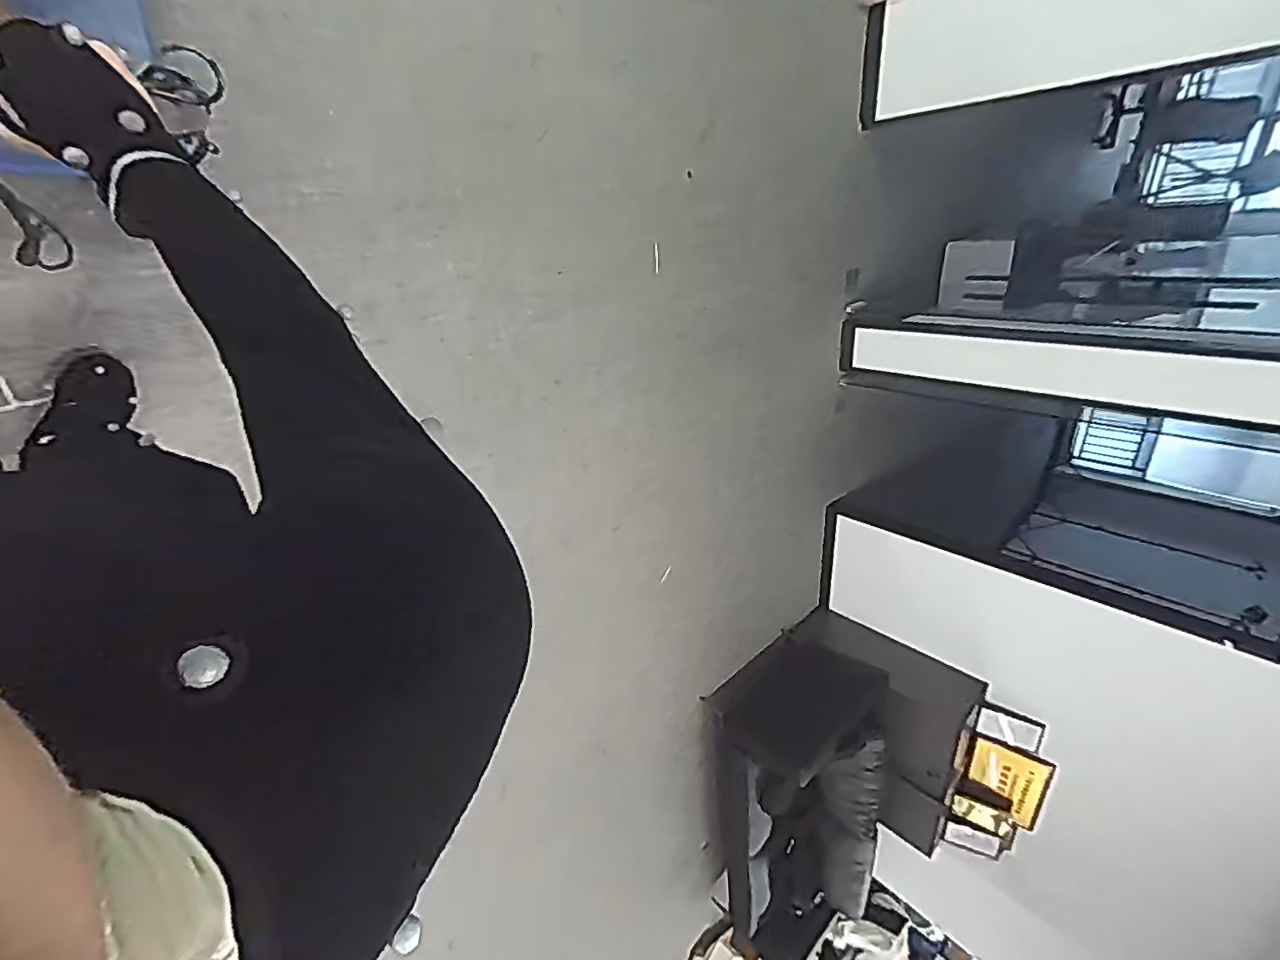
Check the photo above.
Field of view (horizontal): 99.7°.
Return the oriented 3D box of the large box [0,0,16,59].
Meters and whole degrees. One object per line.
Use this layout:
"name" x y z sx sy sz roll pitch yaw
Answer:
"large box" -0.966 -0.758 0.568 0.320 0.320 0.408 -15 115 -41
